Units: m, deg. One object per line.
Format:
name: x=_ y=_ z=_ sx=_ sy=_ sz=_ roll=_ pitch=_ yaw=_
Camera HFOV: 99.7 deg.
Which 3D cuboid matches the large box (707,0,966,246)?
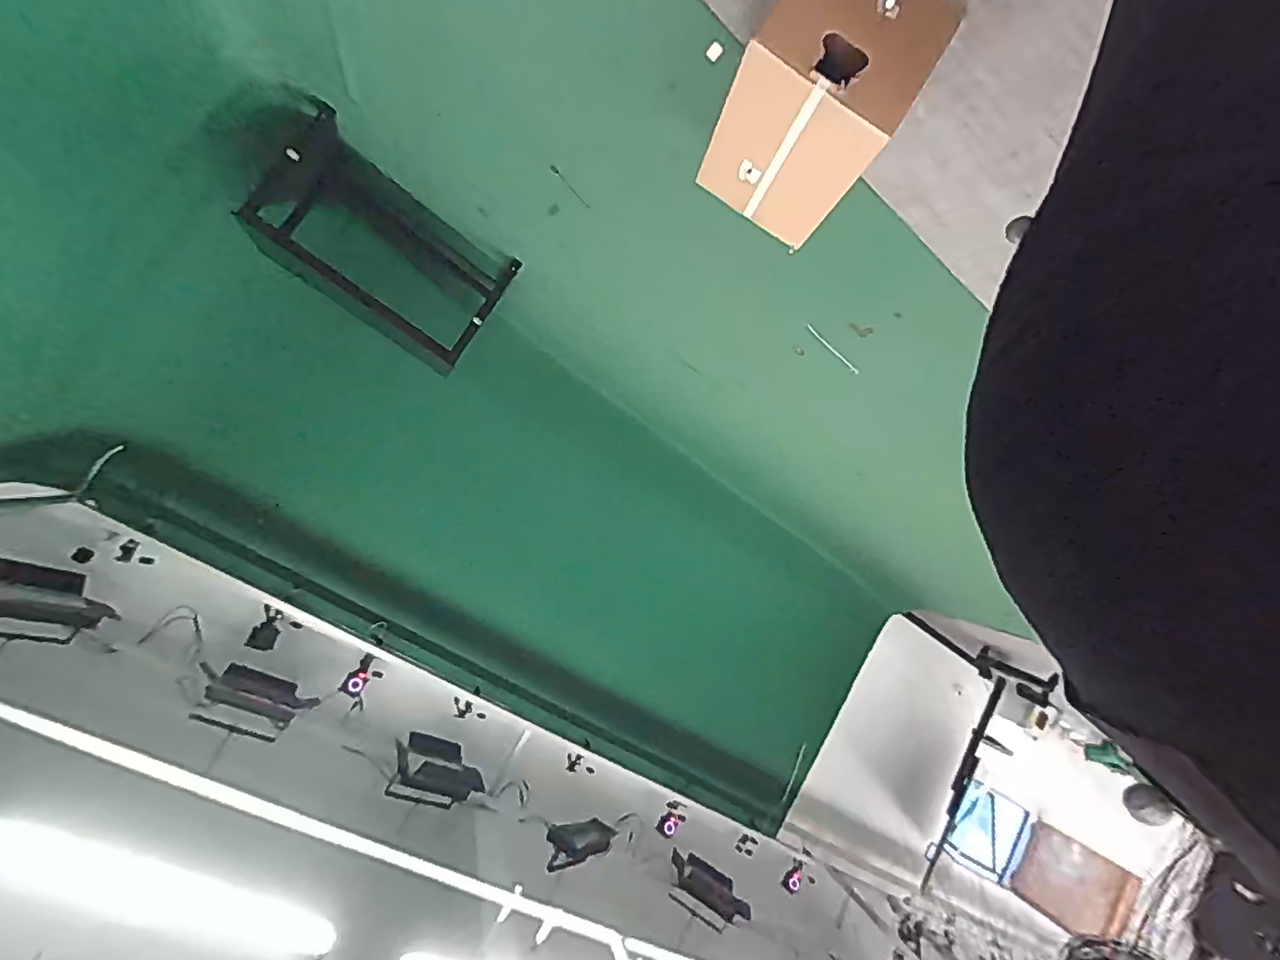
large box: x=0.393 y=-0.812 z=1.175 sx=0.320 sy=0.320 sz=0.408 roll=33 pitch=172 yaw=-3
